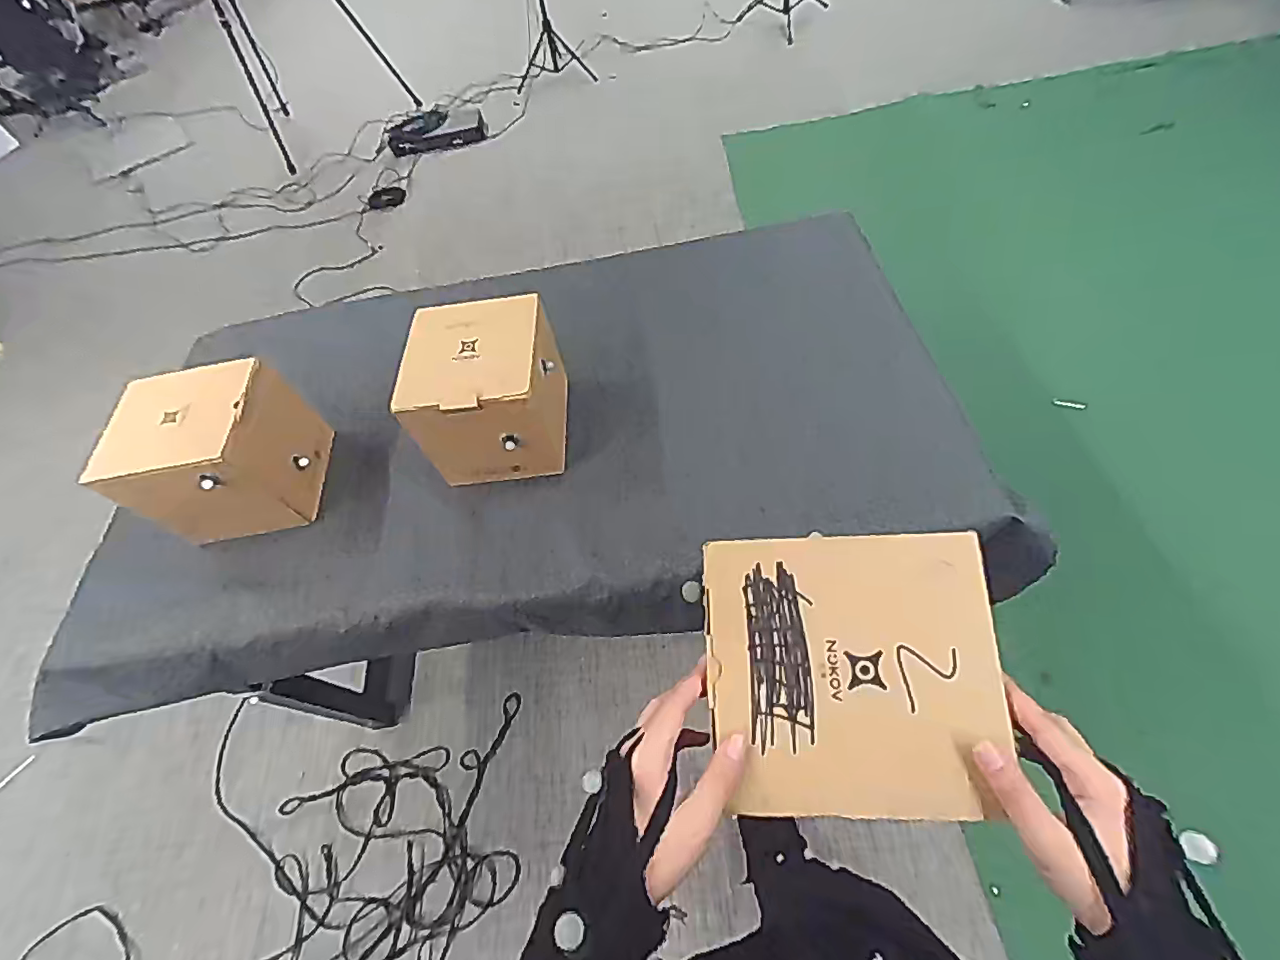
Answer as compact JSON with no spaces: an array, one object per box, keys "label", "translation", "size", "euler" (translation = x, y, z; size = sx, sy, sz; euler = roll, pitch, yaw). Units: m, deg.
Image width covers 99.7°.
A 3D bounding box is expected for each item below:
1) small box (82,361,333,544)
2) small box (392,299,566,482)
[{"label":"small box","translation":[-0.557,-0.029,0.727],"size":[0.179,0.176,0.168],"euler":[-10,57,1]},{"label":"small box","translation":[-0.198,-0.109,0.722],"size":[0.168,0.176,0.179],"euler":[-6,56,4]}]
